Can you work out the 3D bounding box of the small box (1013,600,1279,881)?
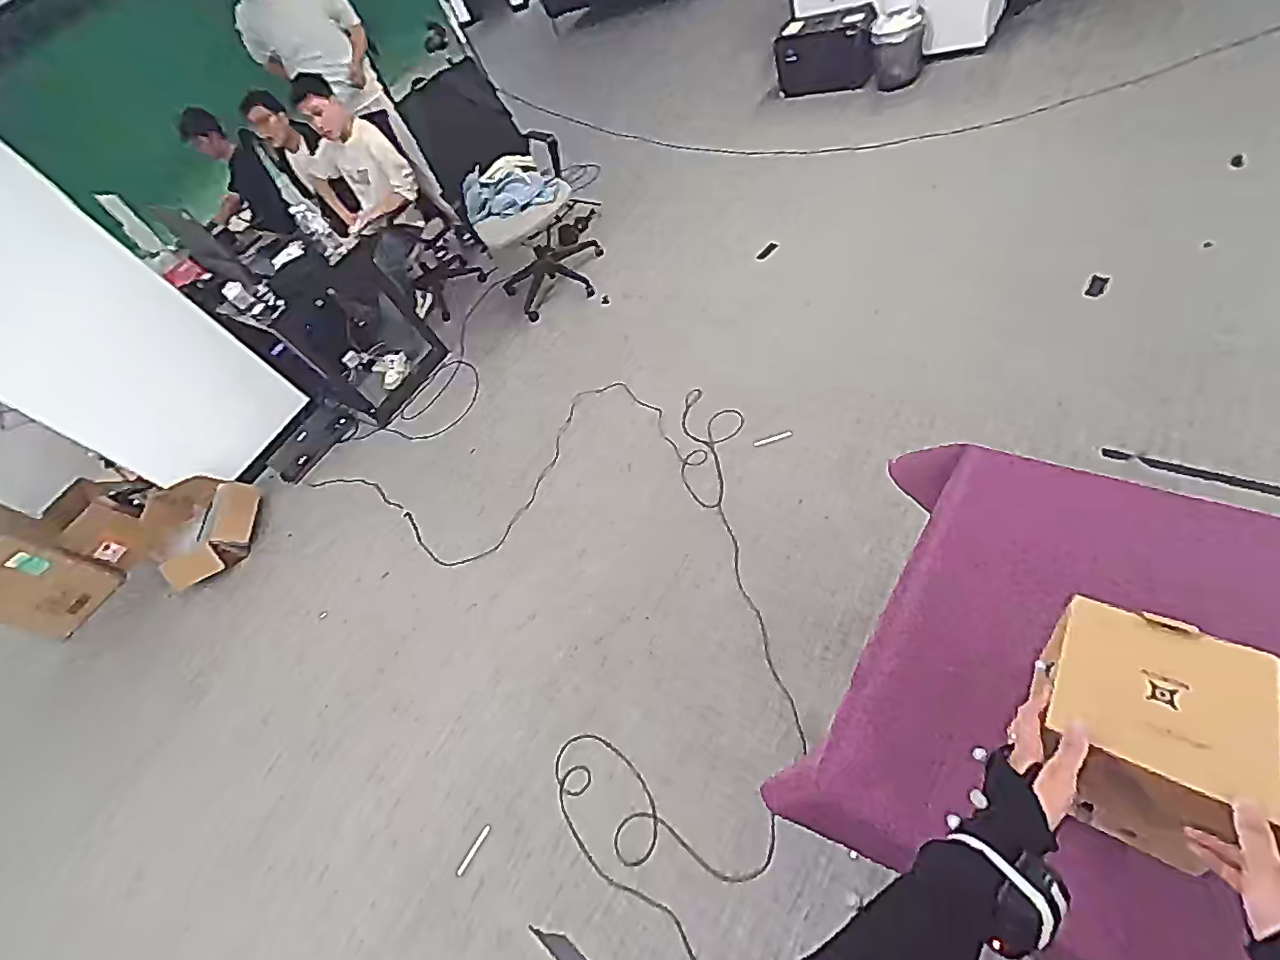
[{"bbox_3d":[0.520,0.268,0.568,0.168,0.176,0.179,19,52,35],"label":"small box"}]
